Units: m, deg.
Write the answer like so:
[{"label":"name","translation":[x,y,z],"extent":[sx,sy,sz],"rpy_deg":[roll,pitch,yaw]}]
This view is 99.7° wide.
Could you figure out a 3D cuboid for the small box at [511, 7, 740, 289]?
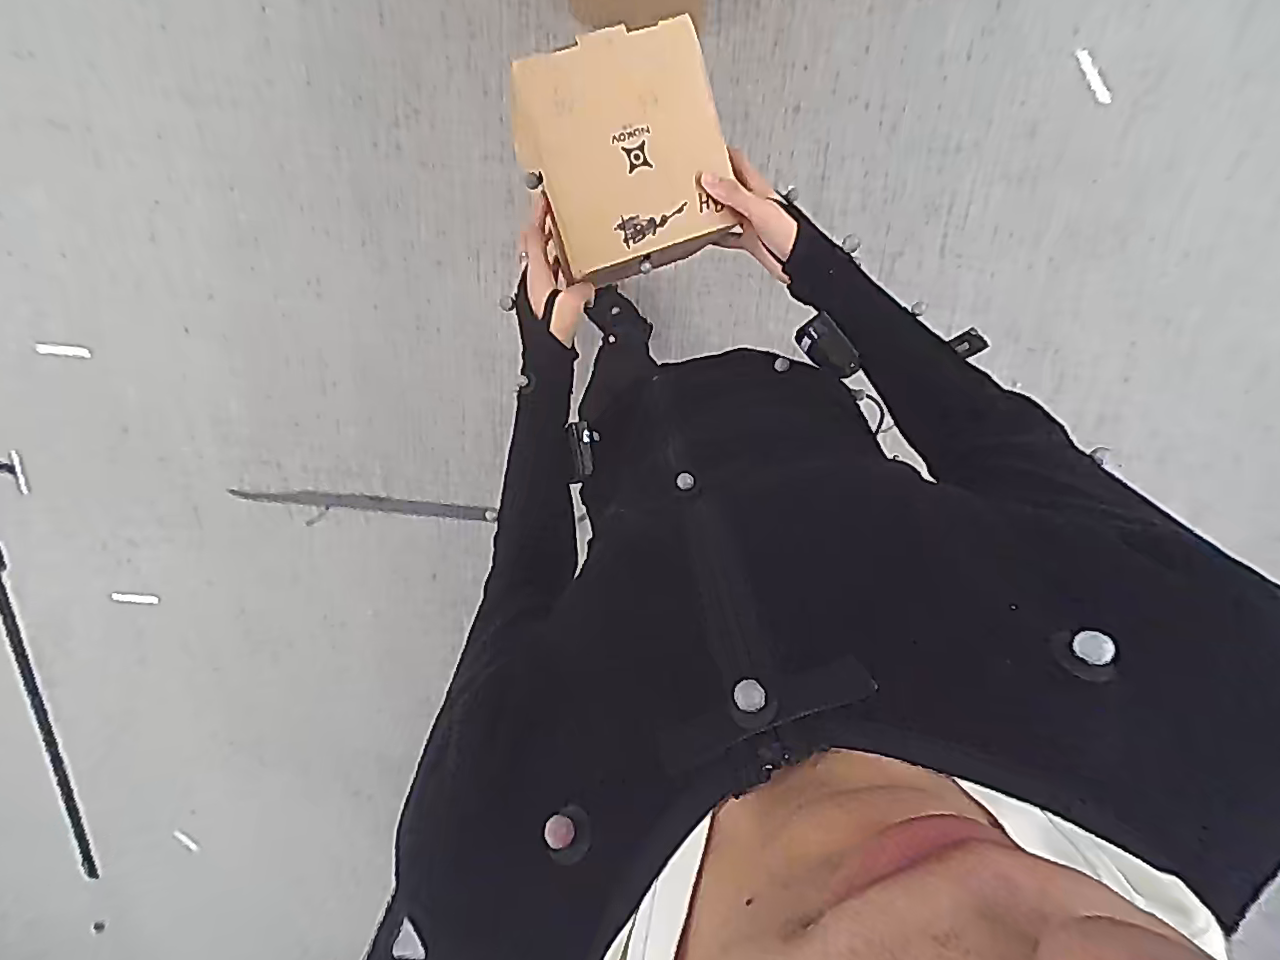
[{"label":"small box","translation":[-0.024,-0.314,0.549],"extent":[0.168,0.176,0.179],"rpy_deg":[-21,104,-8]}]
